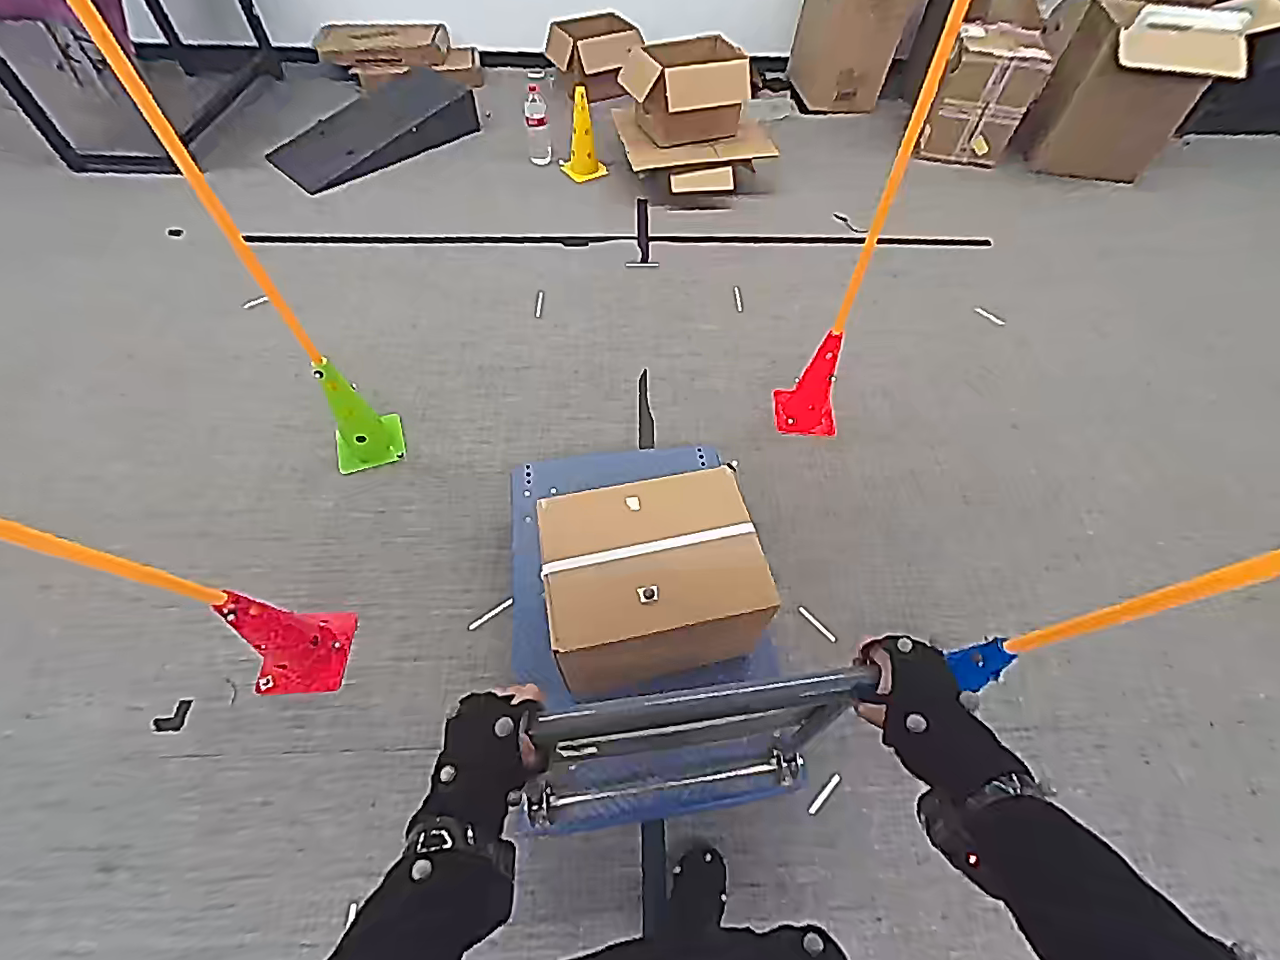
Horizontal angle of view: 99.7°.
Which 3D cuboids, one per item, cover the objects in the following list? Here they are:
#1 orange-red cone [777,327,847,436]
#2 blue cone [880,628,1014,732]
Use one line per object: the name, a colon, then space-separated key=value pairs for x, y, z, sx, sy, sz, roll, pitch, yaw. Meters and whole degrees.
orange-red cone: x=0.574 y=-0.330 z=1.700 sx=0.199 sy=0.360 sz=0.198 roll=6 pitch=56 yaw=1
blue cone: x=0.716 y=0.424 z=1.208 sx=0.193 sy=0.380 sz=0.192 roll=-3 pitch=55 yaw=-4
